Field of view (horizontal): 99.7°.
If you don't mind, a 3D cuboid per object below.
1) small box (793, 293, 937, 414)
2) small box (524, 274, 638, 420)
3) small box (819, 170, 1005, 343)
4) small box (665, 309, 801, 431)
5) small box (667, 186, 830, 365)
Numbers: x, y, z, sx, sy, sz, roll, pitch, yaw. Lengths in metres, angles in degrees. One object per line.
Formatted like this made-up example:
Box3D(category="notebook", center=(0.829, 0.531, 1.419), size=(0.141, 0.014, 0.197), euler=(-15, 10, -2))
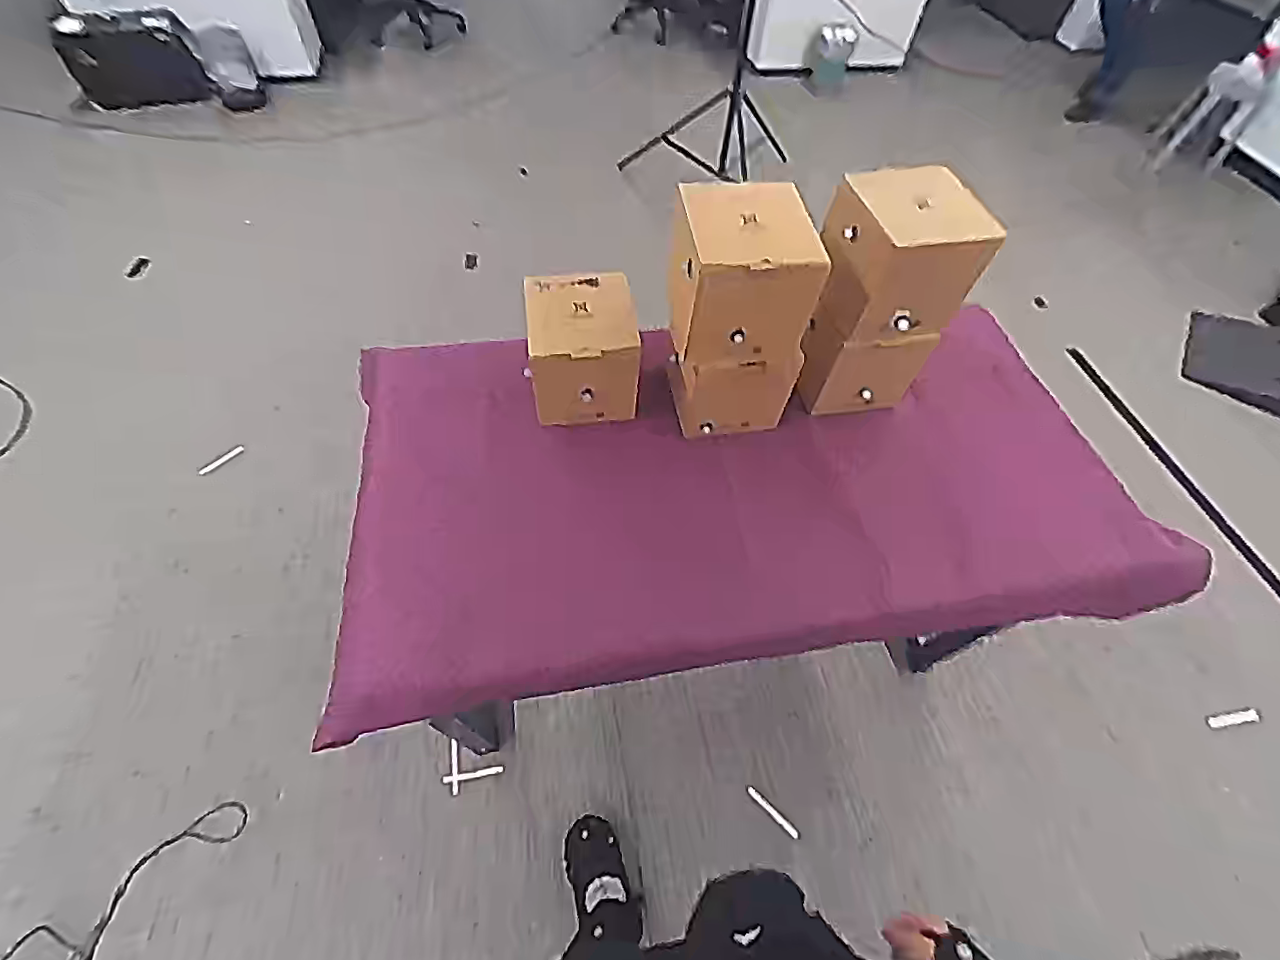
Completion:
Box3D(category="small box", center=(0.366, -0.238, 0.941), size=(0.168, 0.176, 0.179), euler=(-7, 59, -7))
Box3D(category="small box", center=(-0.096, -0.211, 0.891), size=(0.168, 0.176, 0.179), euler=(-5, 60, -7))
Box3D(category="small box", center=(0.379, -0.331, 0.808), size=(0.168, 0.176, 0.179), euler=(-9, 59, -9))
Box3D(category="small box", center=(0.143, -0.195, 0.898), size=(0.168, 0.176, 0.179), euler=(-7, 58, -8))
Box3D(category="small box", center=(0.137, -0.285, 0.763), size=(0.168, 0.176, 0.179), euler=(-5, 59, -7))
